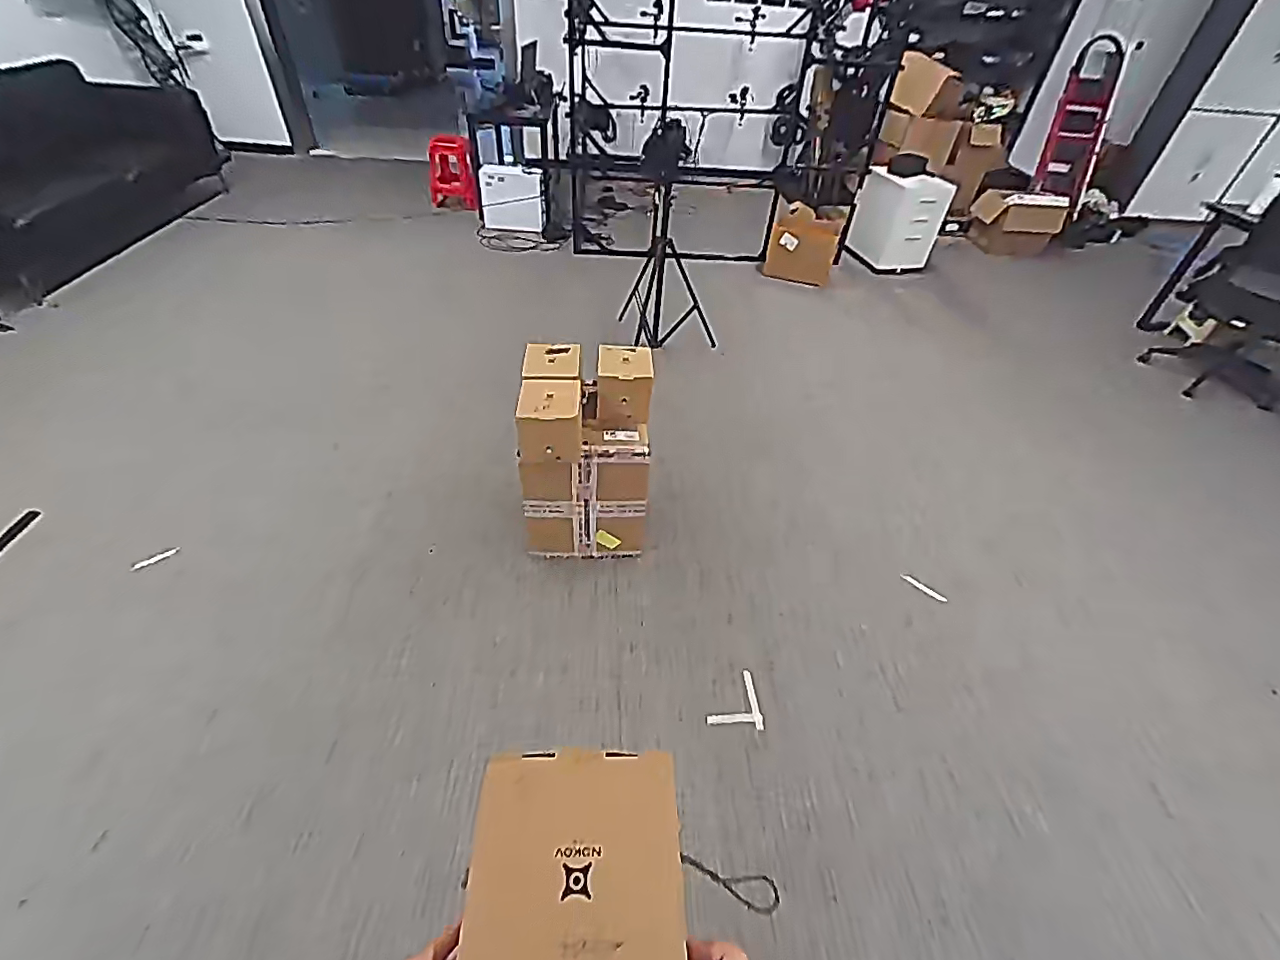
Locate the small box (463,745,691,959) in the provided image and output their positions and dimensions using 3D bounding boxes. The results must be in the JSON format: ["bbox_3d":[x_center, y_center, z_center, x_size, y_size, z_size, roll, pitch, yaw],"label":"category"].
[{"bbox_3d":[-0.052,0.356,0.481,0.168,0.176,0.179,2,47,-4],"label":"small box"}]
